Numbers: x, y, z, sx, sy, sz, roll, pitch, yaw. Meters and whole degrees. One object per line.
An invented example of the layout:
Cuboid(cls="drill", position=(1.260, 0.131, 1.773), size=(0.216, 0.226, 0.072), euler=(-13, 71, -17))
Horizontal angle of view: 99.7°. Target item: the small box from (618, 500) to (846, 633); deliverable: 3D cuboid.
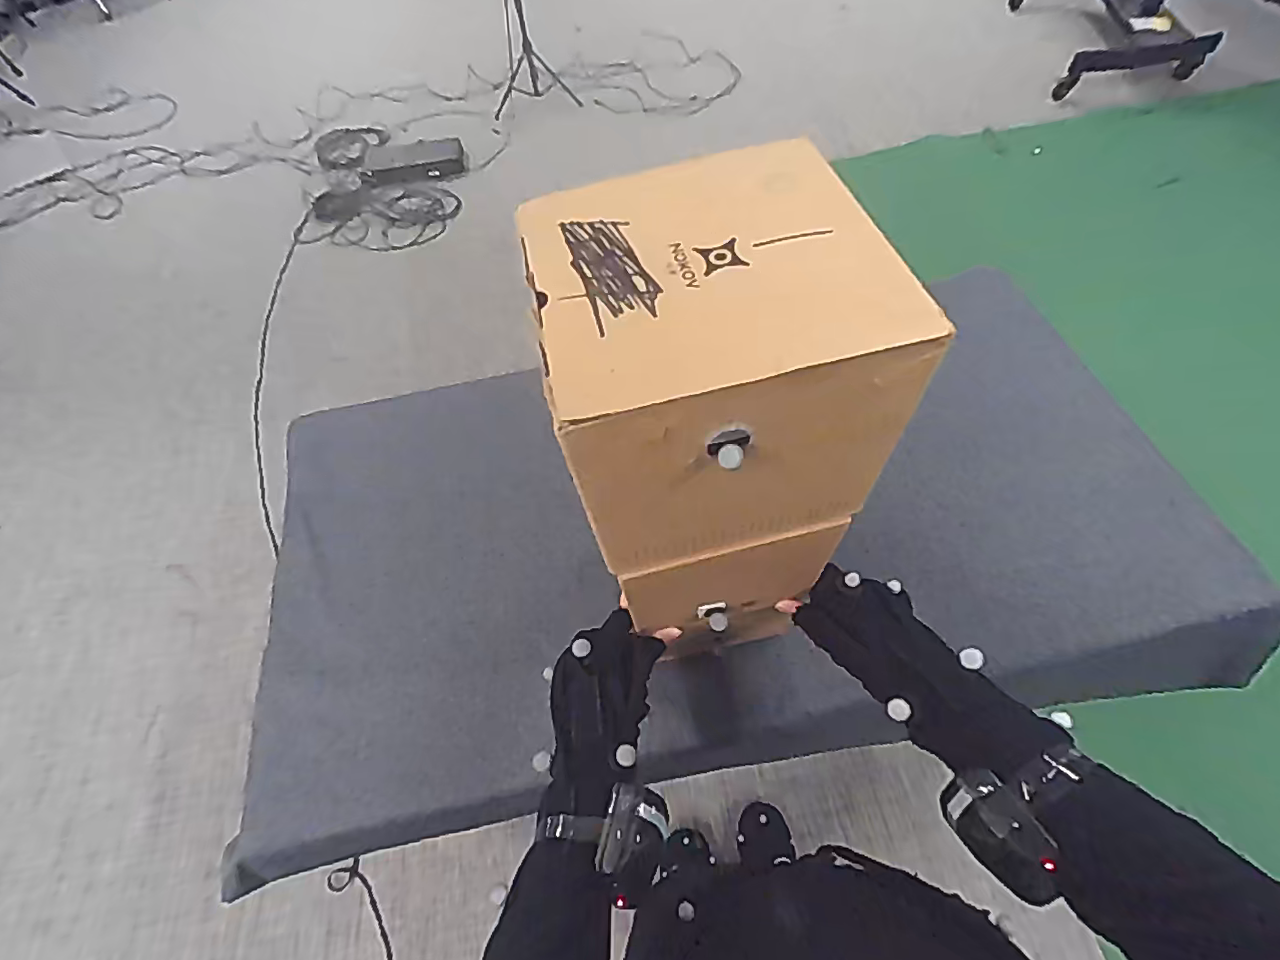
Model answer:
Cuboid(cls="small box", position=(0.053, 0.015, 0.483), size=(0.168, 0.176, 0.179), euler=(-15, 60, -2))

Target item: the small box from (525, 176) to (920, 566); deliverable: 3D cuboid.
Cuboid(cls="small box", position=(0.039, -0.058, 0.356), size=(0.179, 0.176, 0.168), euler=(-14, 60, -2))

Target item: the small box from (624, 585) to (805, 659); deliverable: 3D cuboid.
Cuboid(cls="small box", position=(0.066, 0.092, 0.626), size=(0.179, 0.176, 0.168), euler=(-12, 59, -3))
